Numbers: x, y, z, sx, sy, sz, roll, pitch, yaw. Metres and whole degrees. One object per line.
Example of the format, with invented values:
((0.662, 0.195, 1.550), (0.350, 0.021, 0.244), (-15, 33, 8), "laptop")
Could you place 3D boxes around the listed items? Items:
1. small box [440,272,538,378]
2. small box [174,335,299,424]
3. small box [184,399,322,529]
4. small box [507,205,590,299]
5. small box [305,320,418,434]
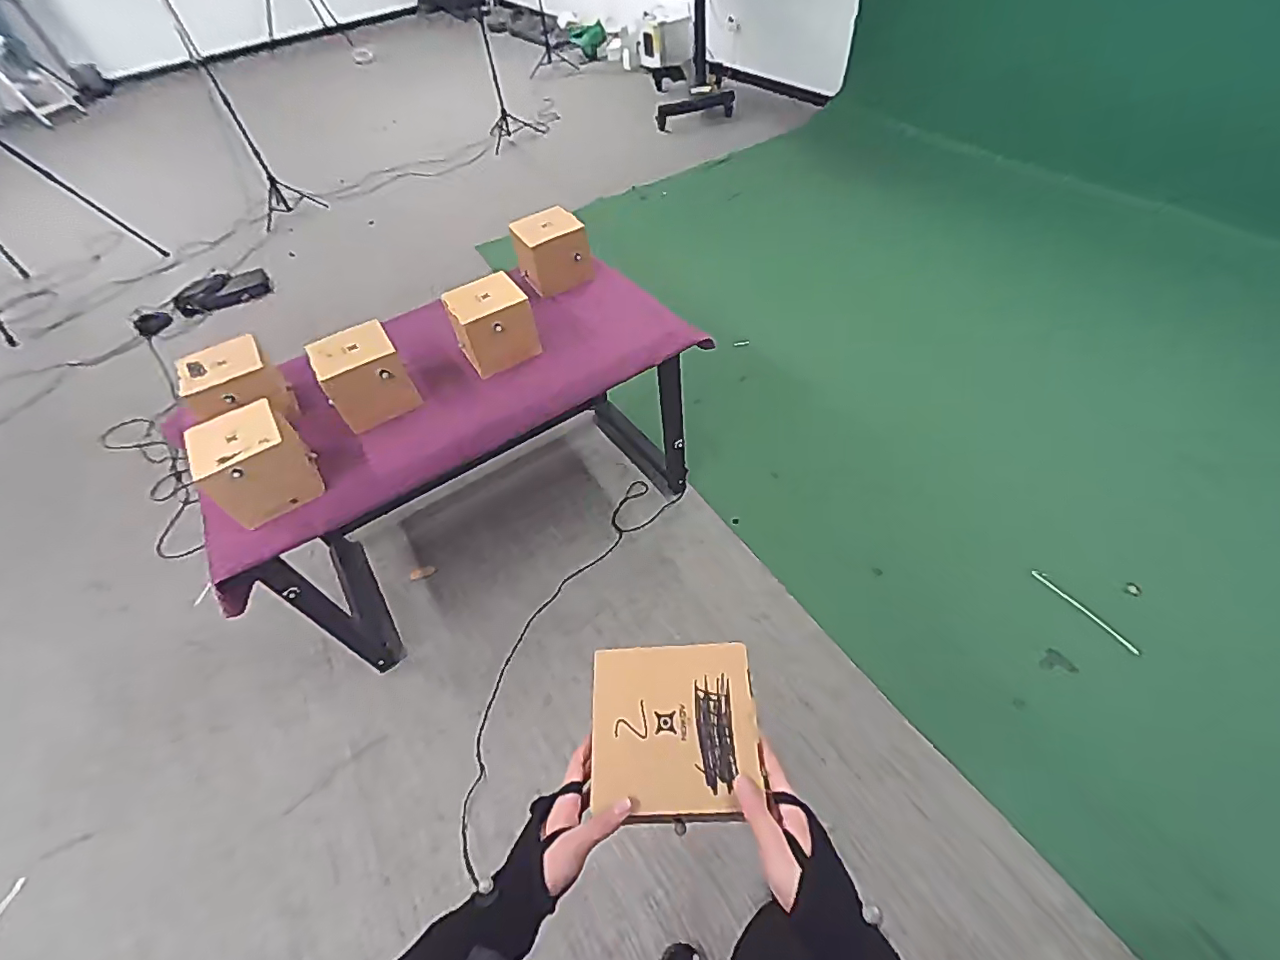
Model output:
((-0.377, -0.394, 1.383), (0.179, 0.176, 0.168), (-29, 54, -15), "small box")
((-0.964, -0.212, 1.299), (0.179, 0.176, 0.168), (-29, 54, -17), "small box")
((-0.806, -0.032, 1.134), (0.168, 0.176, 0.179), (-31, 53, -17), "small box")
((-0.260, -0.665, 1.583), (0.179, 0.176, 0.168), (-29, 55, -15), "small box")
((-0.656, -0.244, 1.292), (0.179, 0.176, 0.168), (-30, 54, -16), "small box")
